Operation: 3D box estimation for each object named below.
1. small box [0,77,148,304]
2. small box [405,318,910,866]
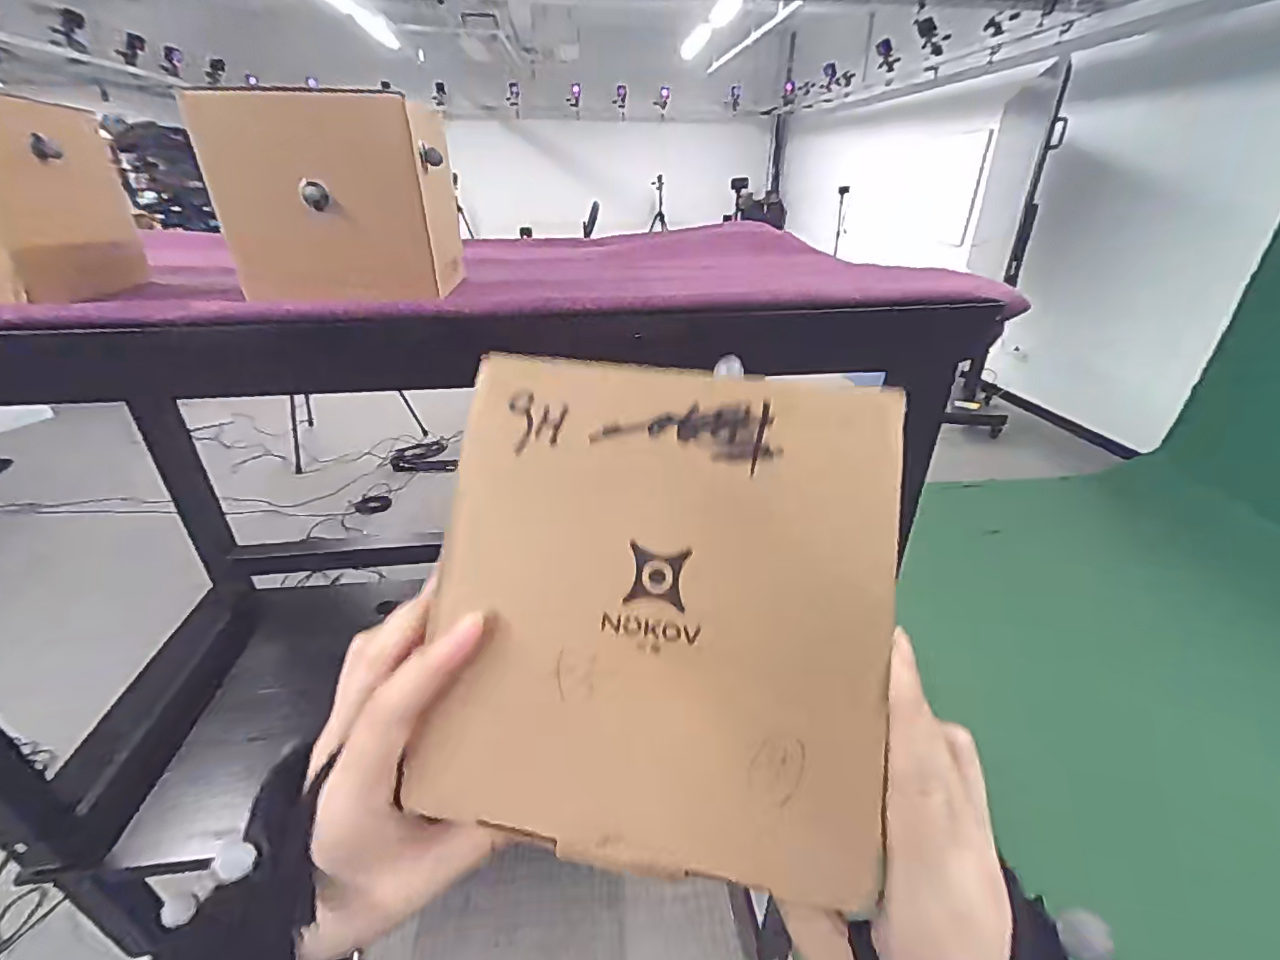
[{"bbox_3d":[-0.604,-0.262,0.491,0.168,0.176,0.179,-4,28,-9],"label":"small box"},{"bbox_3d":[0.015,0.040,0.273,0.168,0.179,0.176,7,-7,8],"label":"small box"}]
